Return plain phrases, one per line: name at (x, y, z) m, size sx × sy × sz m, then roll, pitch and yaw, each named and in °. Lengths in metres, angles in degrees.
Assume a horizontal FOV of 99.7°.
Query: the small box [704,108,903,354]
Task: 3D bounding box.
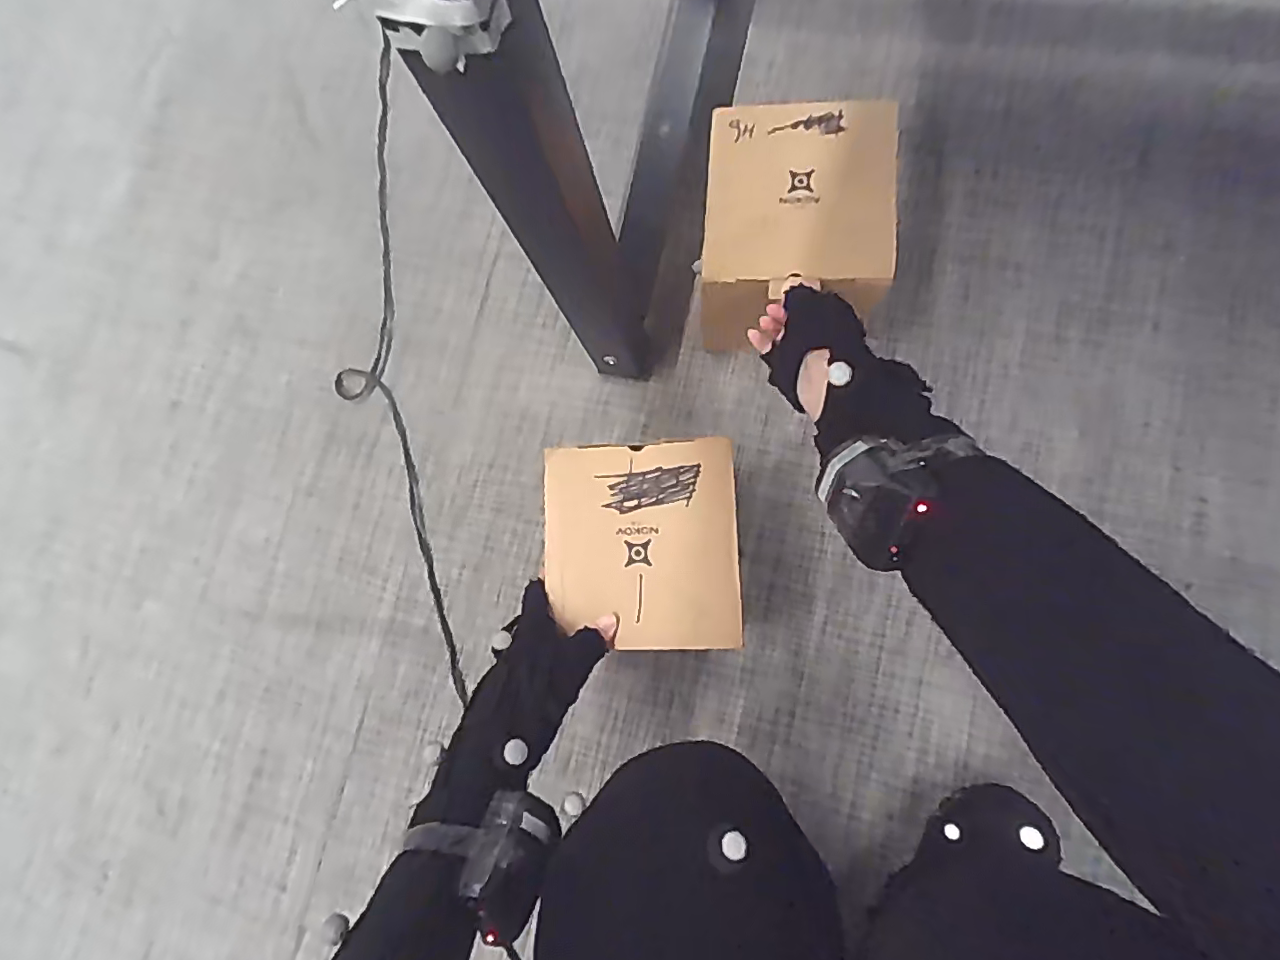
small box at (0.156, -0.242, 0.562) m, size 0.168 × 0.176 × 0.179 m, roll 4°, pitch 83°, yaw 7°
